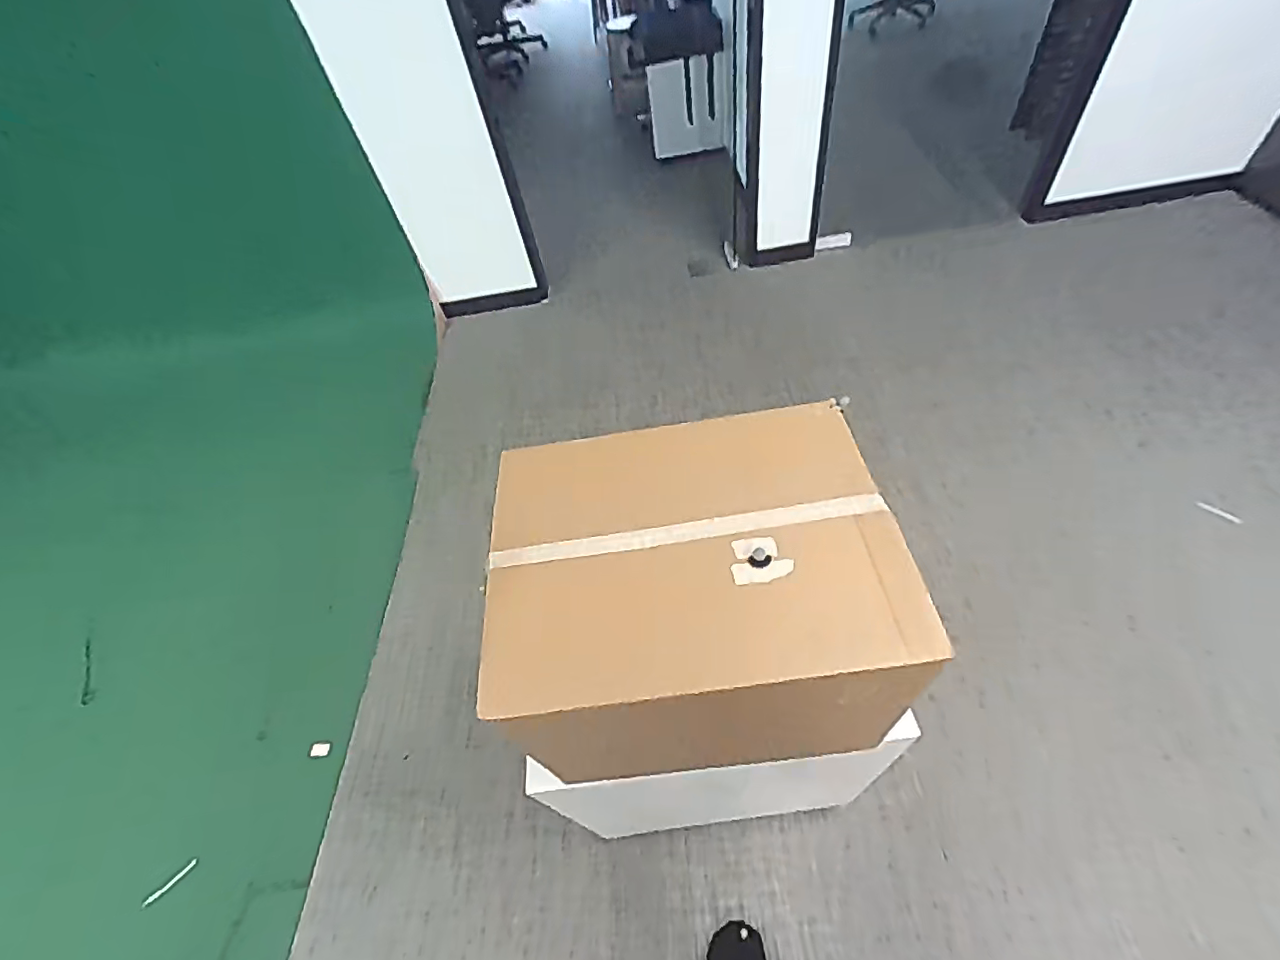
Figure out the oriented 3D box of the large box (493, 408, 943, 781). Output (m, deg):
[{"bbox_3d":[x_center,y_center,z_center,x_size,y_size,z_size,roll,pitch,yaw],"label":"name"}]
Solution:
[{"bbox_3d":[0.066,0.151,0.673,0.408,0.320,0.320,-8,51,2],"label":"large box"}]
